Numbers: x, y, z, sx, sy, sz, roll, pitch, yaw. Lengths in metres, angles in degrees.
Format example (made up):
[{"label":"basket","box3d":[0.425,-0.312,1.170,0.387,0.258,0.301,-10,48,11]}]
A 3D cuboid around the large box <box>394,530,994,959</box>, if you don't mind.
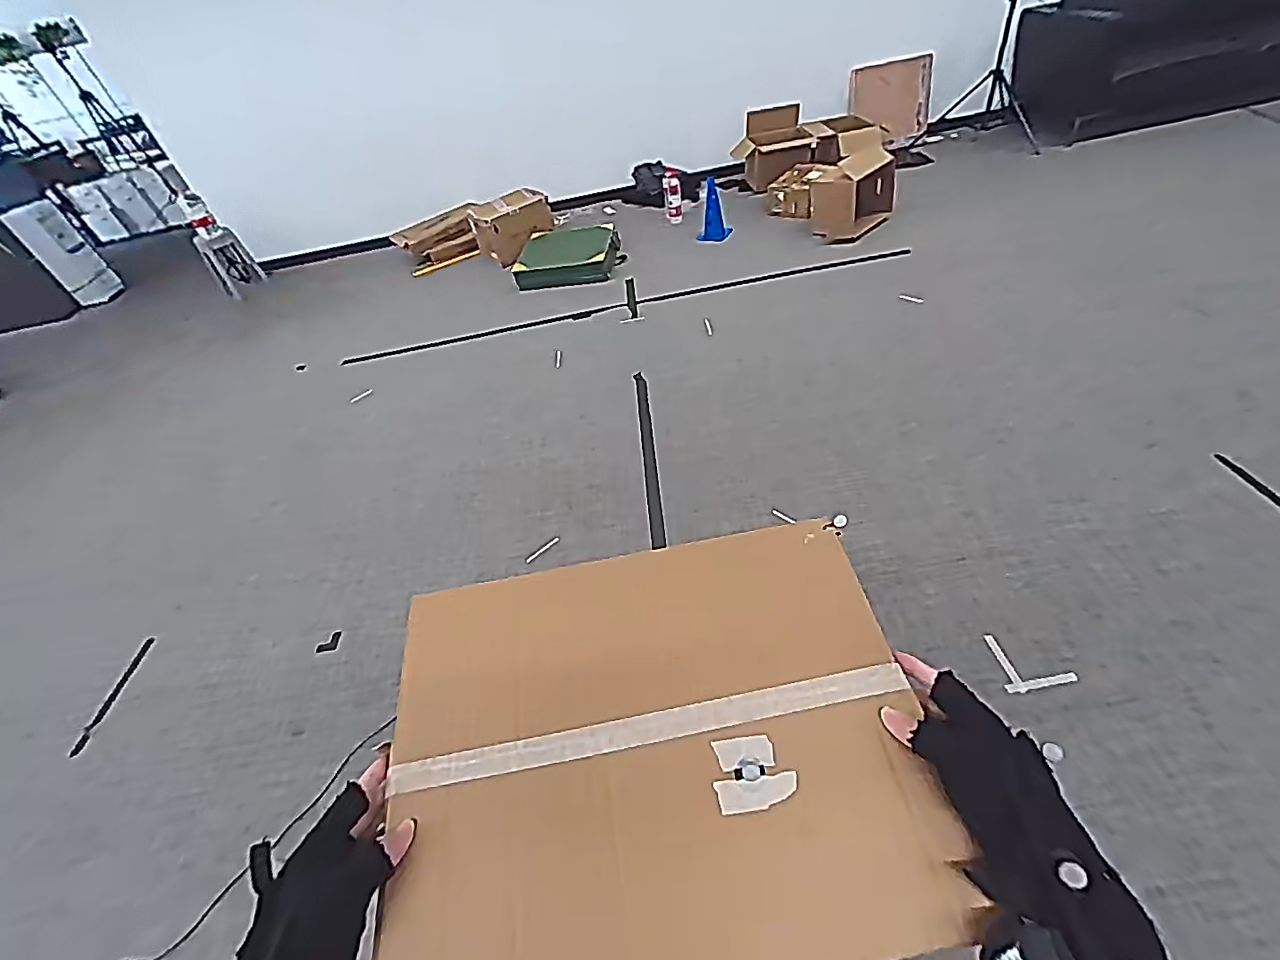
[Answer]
[{"label":"large box","box3d":[0.025,0.296,0.549,0.408,0.320,0.320,-11,52,-1]}]
